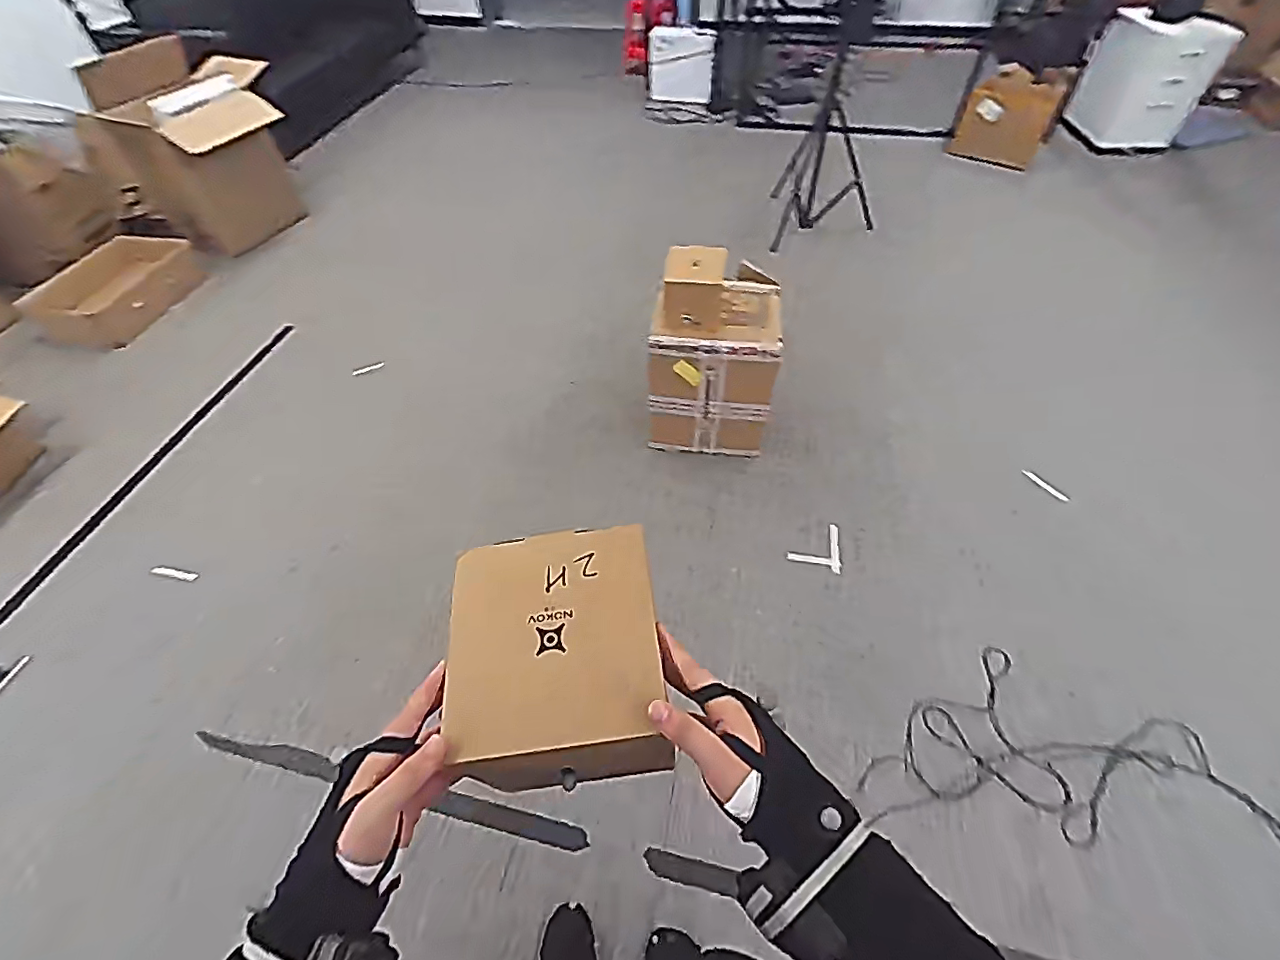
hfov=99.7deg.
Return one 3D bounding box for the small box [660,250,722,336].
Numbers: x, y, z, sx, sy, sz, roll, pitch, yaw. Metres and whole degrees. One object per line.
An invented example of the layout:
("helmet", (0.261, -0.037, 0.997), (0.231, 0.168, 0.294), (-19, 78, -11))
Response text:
("small box", (0.151, -0.552, 1.599), (0.168, 0.176, 0.179), (4, 56, 7))
